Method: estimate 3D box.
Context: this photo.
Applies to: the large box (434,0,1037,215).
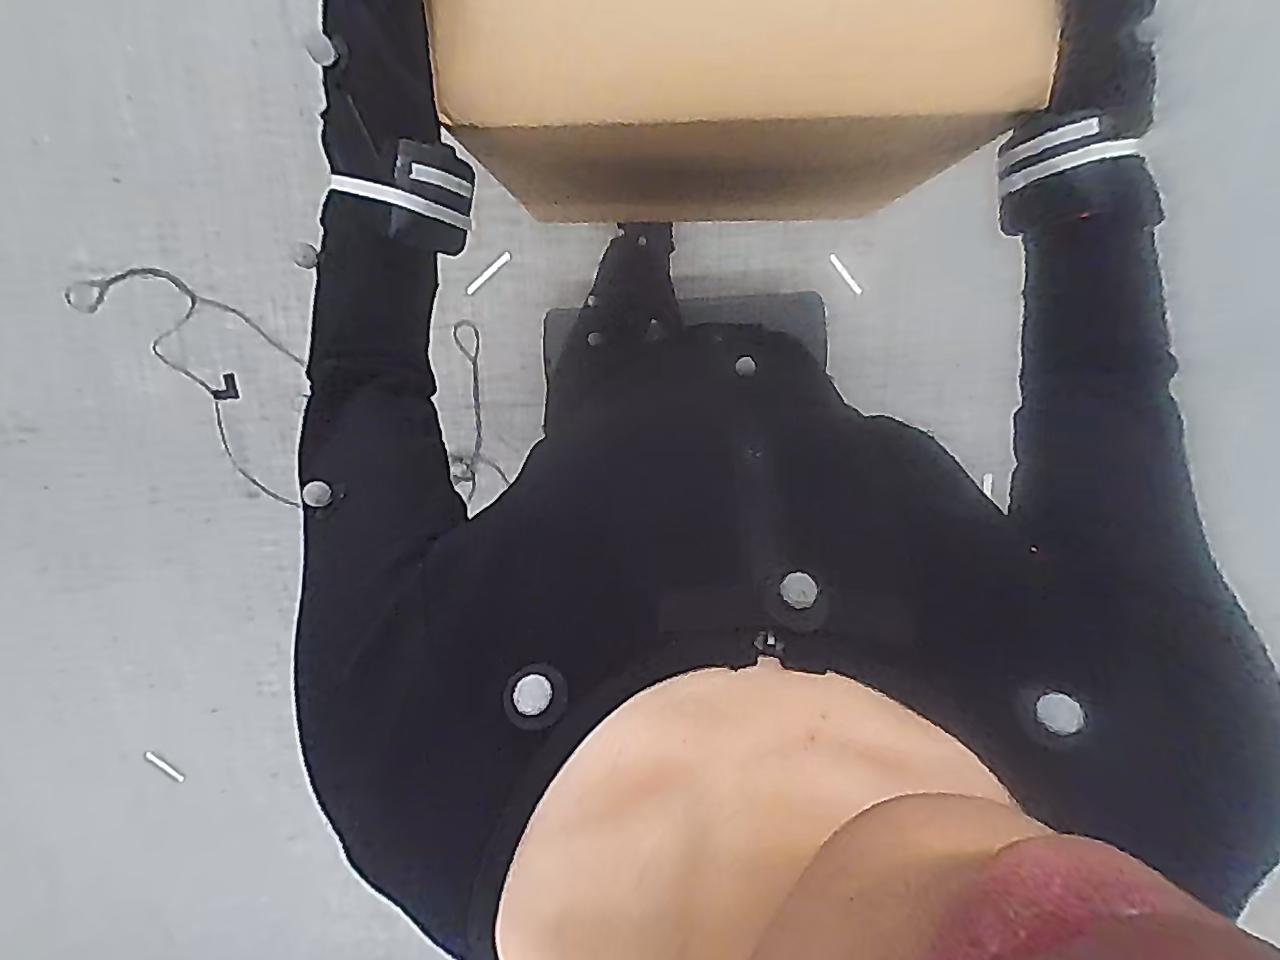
[{"bbox_3d":[0.061,-0.444,0.478,0.408,0.320,0.320,0,104,2],"label":"large box"}]
